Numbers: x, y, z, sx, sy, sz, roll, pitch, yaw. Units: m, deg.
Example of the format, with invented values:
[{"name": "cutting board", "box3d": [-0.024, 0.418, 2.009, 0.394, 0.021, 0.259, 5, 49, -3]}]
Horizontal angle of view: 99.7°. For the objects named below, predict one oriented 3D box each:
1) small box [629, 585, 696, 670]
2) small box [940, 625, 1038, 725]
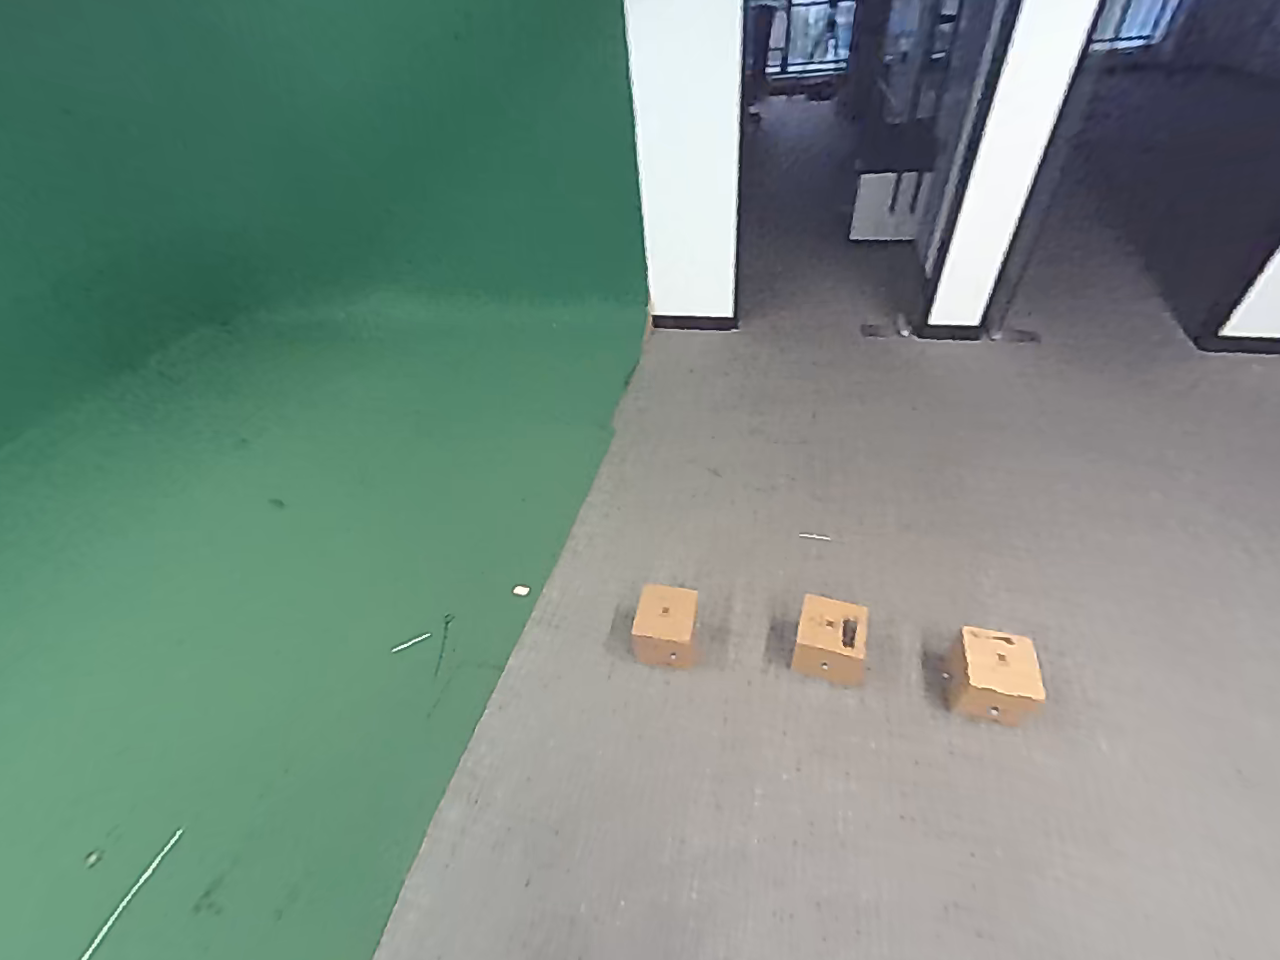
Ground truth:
[{"name": "small box", "box3d": [0.073, 0.441, 1.607, 0.168, 0.176, 0.179, 6, 44, 12]}, {"name": "small box", "box3d": [0.906, 0.515, 1.419, 0.168, 0.176, 0.179, 9, 46, 15]}]
